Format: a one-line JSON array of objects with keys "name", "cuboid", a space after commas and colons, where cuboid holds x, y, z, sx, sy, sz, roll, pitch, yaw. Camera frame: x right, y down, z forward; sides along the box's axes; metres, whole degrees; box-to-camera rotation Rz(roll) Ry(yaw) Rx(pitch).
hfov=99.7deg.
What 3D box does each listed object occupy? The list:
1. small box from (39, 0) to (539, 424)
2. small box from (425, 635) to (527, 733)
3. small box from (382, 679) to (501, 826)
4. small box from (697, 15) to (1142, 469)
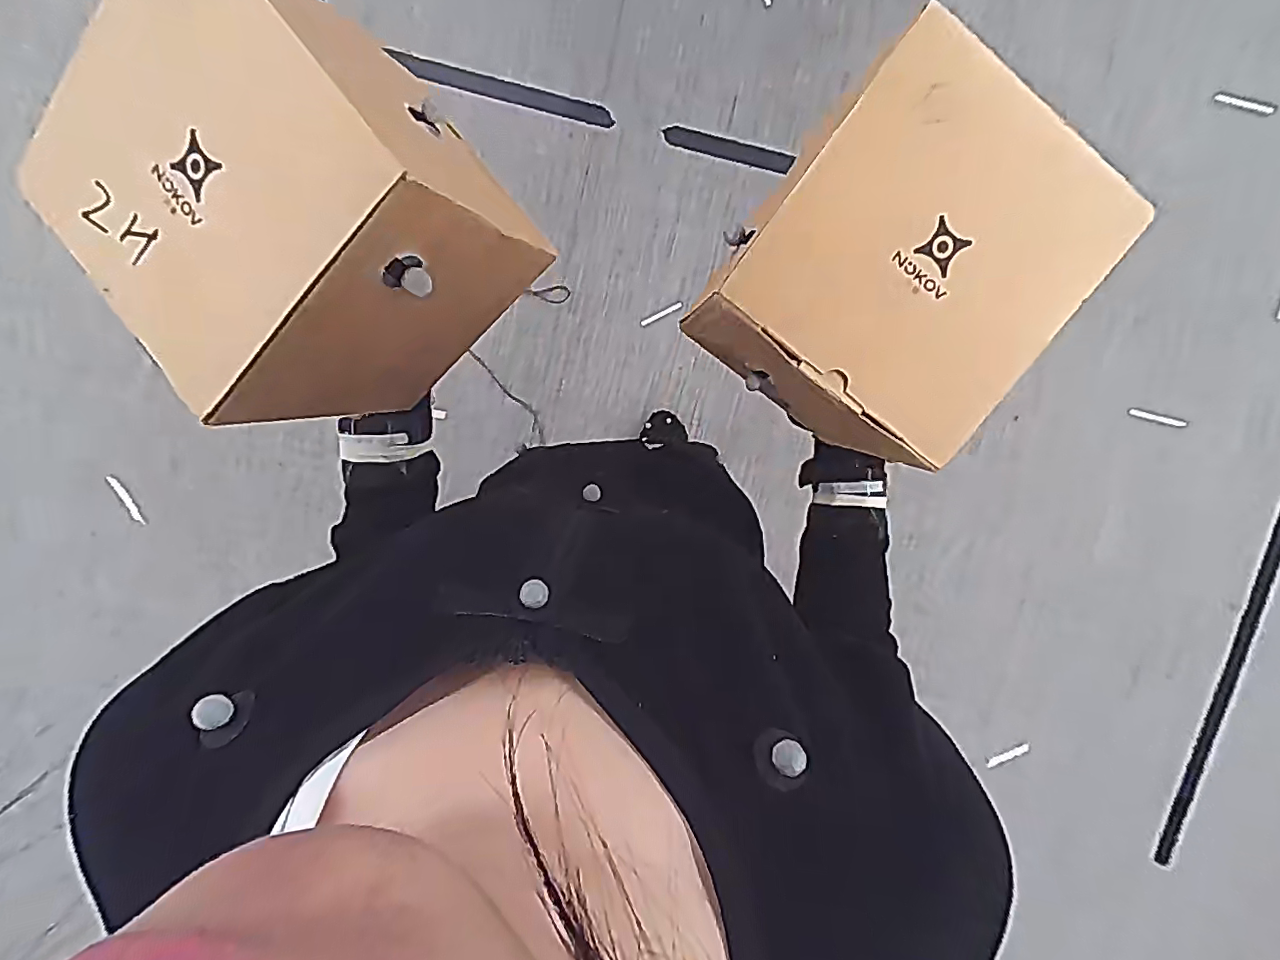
[{"name": "small box", "cuboid": [-0.187, -0.157, 0.337, 0.179, 0.176, 0.168, -39, 88, 18]}, {"name": "small box", "cuboid": [-0.359, 0.456, 1.151, 0.179, 0.176, 0.168, 22, 95, 0]}, {"name": "small box", "cuboid": [-0.360, 0.487, 0.991, 0.168, 0.176, 0.179, 6, 96, 1]}, {"name": "small box", "cuboid": [0.157, -0.135, 0.371, 0.168, 0.176, 0.179, 36, 97, -9]}]
